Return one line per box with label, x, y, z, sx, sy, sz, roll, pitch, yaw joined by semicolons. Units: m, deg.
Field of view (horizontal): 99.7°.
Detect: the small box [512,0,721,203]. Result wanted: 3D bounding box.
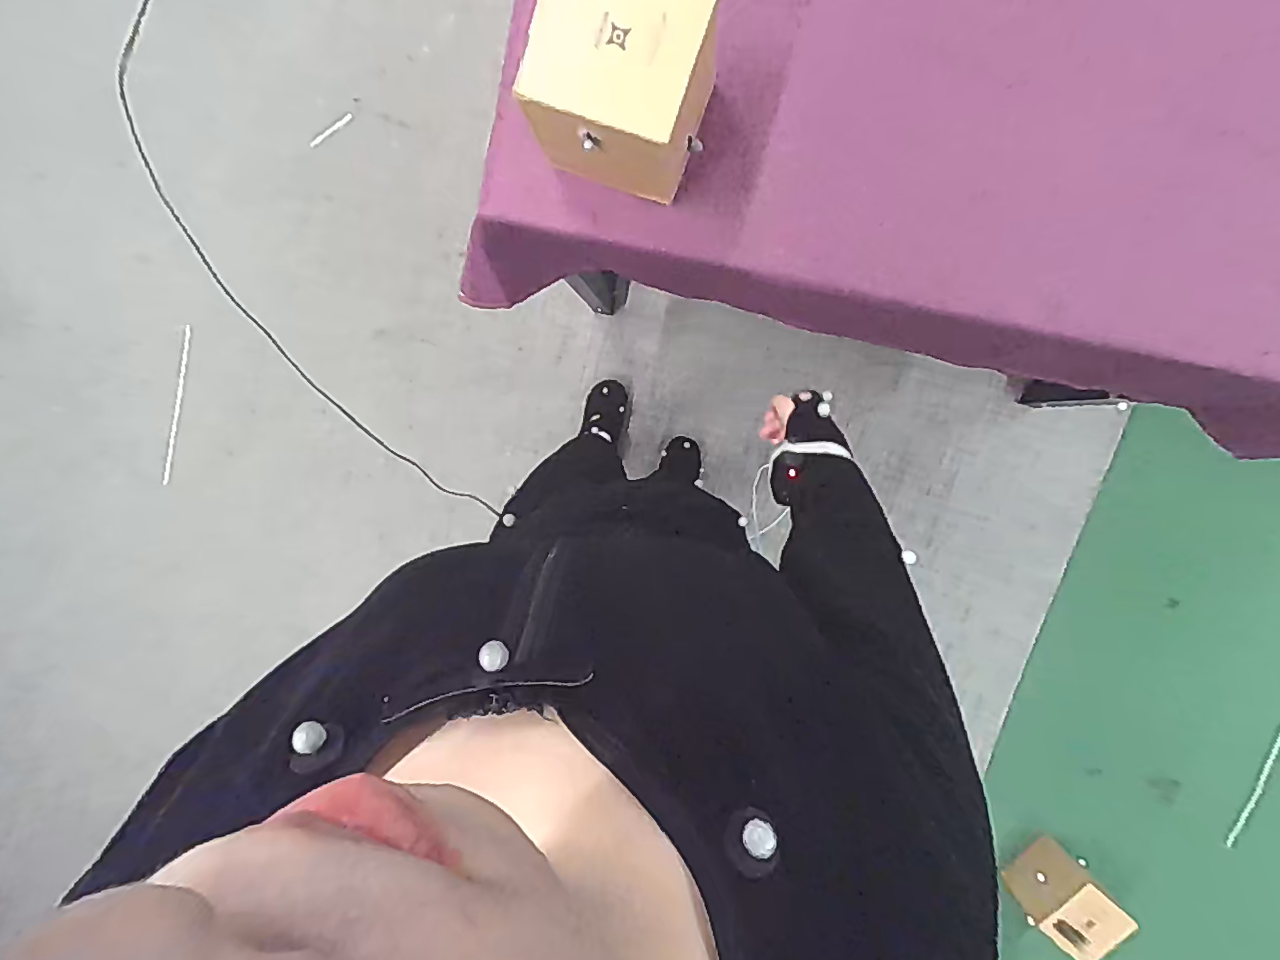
small box;-0.020;-0.454;0.629;0.179;0.176;0.168;21;98;2
